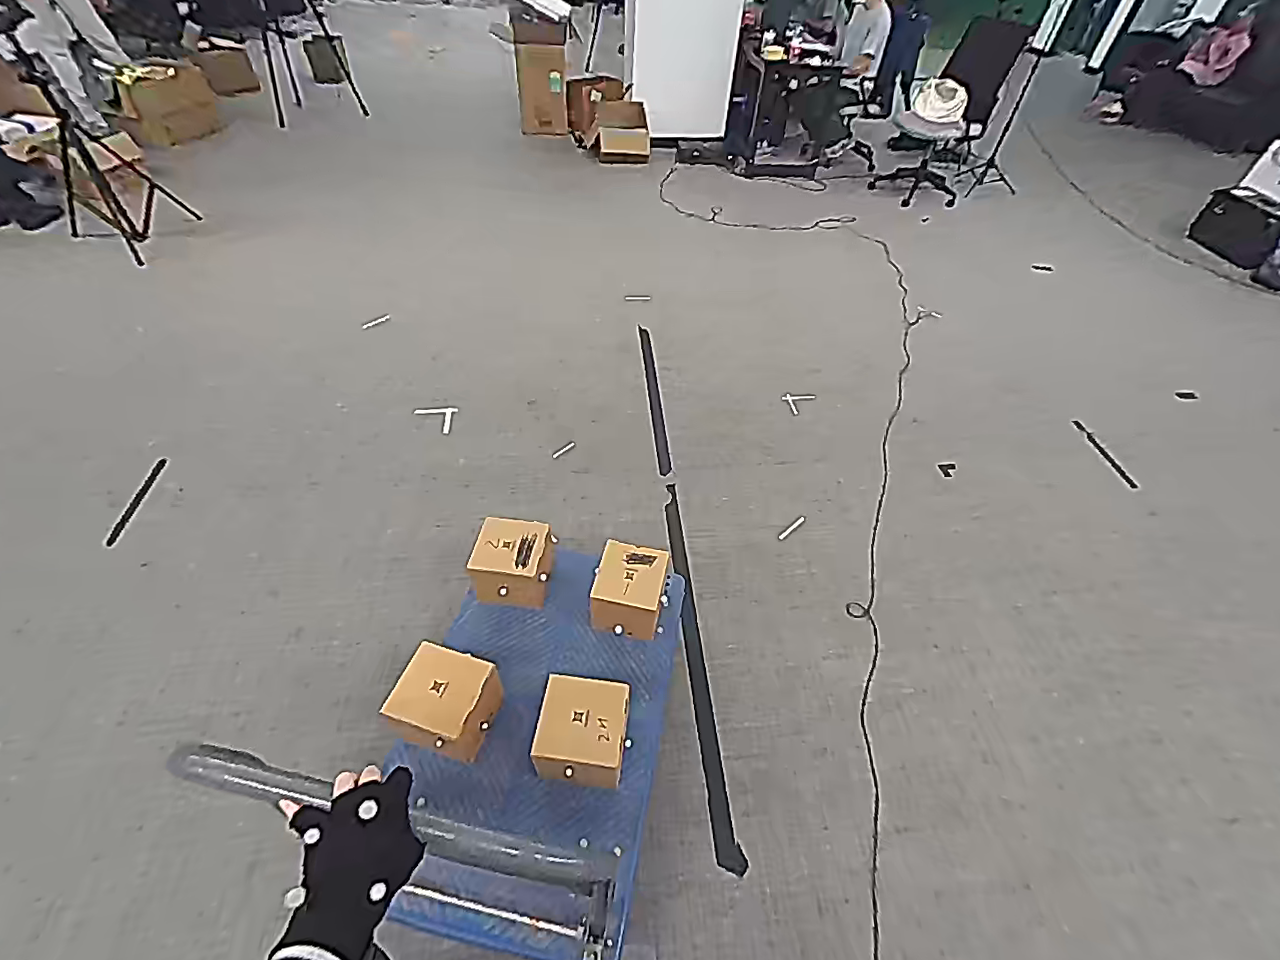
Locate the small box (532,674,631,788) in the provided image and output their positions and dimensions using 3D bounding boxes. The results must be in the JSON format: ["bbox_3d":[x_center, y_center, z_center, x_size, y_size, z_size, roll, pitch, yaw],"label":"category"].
[{"bbox_3d":[-0.118,0.540,1.157,0.179,0.176,0.168,7,47,4],"label":"small box"}]

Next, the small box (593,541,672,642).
[{"bbox_3d":[-0.020,0.288,1.398,0.168,0.176,0.179,11,49,7],"label":"small box"}]

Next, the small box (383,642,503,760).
[{"bbox_3d":[-0.421,0.488,1.189,0.179,0.176,0.168,15,47,8],"label":"small box"}]
